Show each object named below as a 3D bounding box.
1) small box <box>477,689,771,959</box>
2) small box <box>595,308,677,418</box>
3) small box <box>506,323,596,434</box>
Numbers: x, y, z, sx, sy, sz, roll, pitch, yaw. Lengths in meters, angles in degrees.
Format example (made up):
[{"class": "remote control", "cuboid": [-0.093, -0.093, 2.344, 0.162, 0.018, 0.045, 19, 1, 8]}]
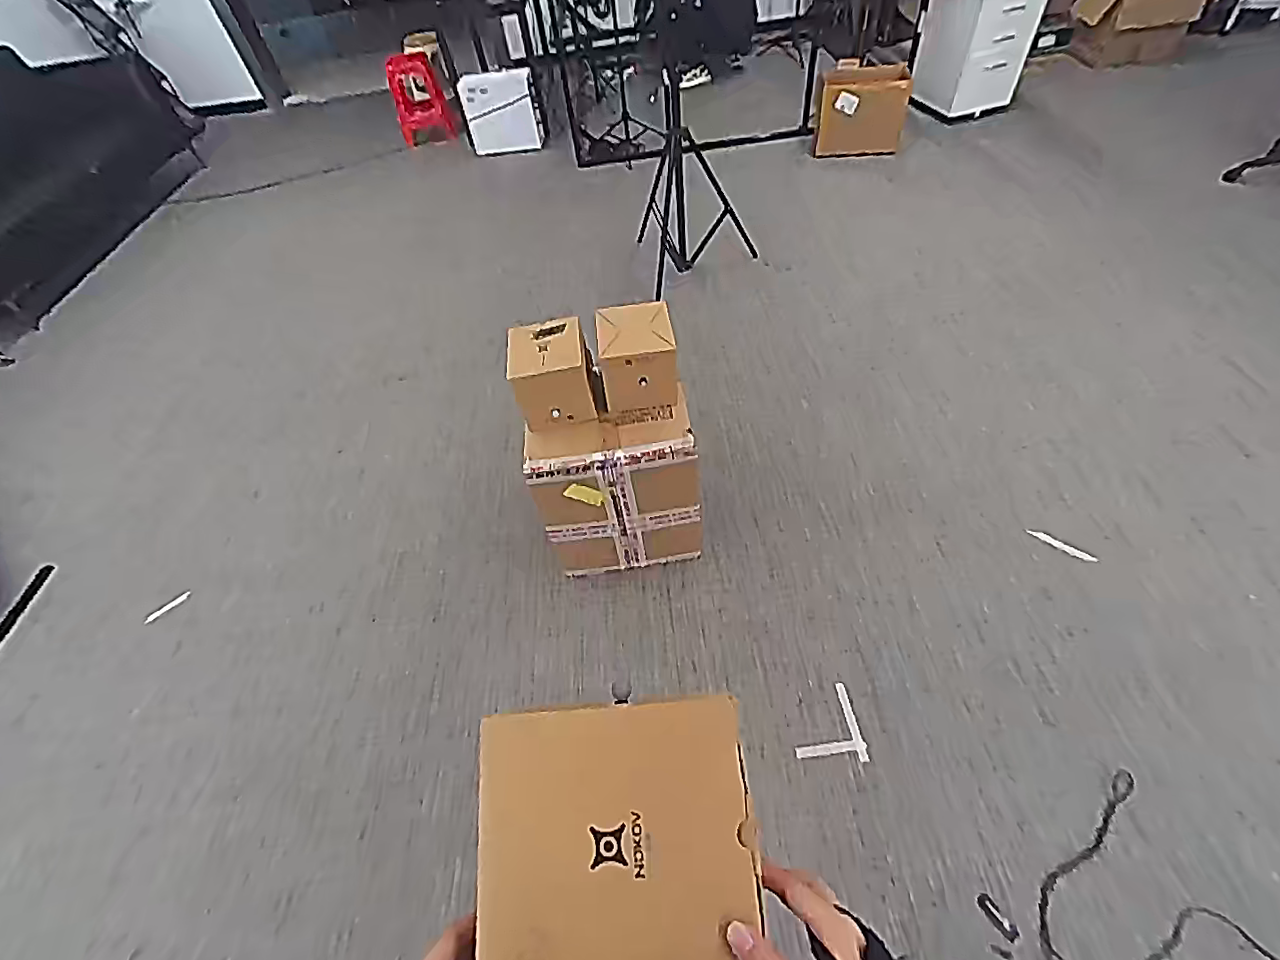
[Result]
[{"class": "small box", "cuboid": [-0.012, 0.258, 0.415, 0.179, 0.176, 0.168, -5, 68, -1]}, {"class": "small box", "cuboid": [-0.010, -0.273, 1.258, 0.168, 0.176, 0.179, -7, 52, -1]}, {"class": "small box", "cuboid": [-0.202, -0.232, 1.255, 0.168, 0.176, 0.179, -11, 52, 2]}]
